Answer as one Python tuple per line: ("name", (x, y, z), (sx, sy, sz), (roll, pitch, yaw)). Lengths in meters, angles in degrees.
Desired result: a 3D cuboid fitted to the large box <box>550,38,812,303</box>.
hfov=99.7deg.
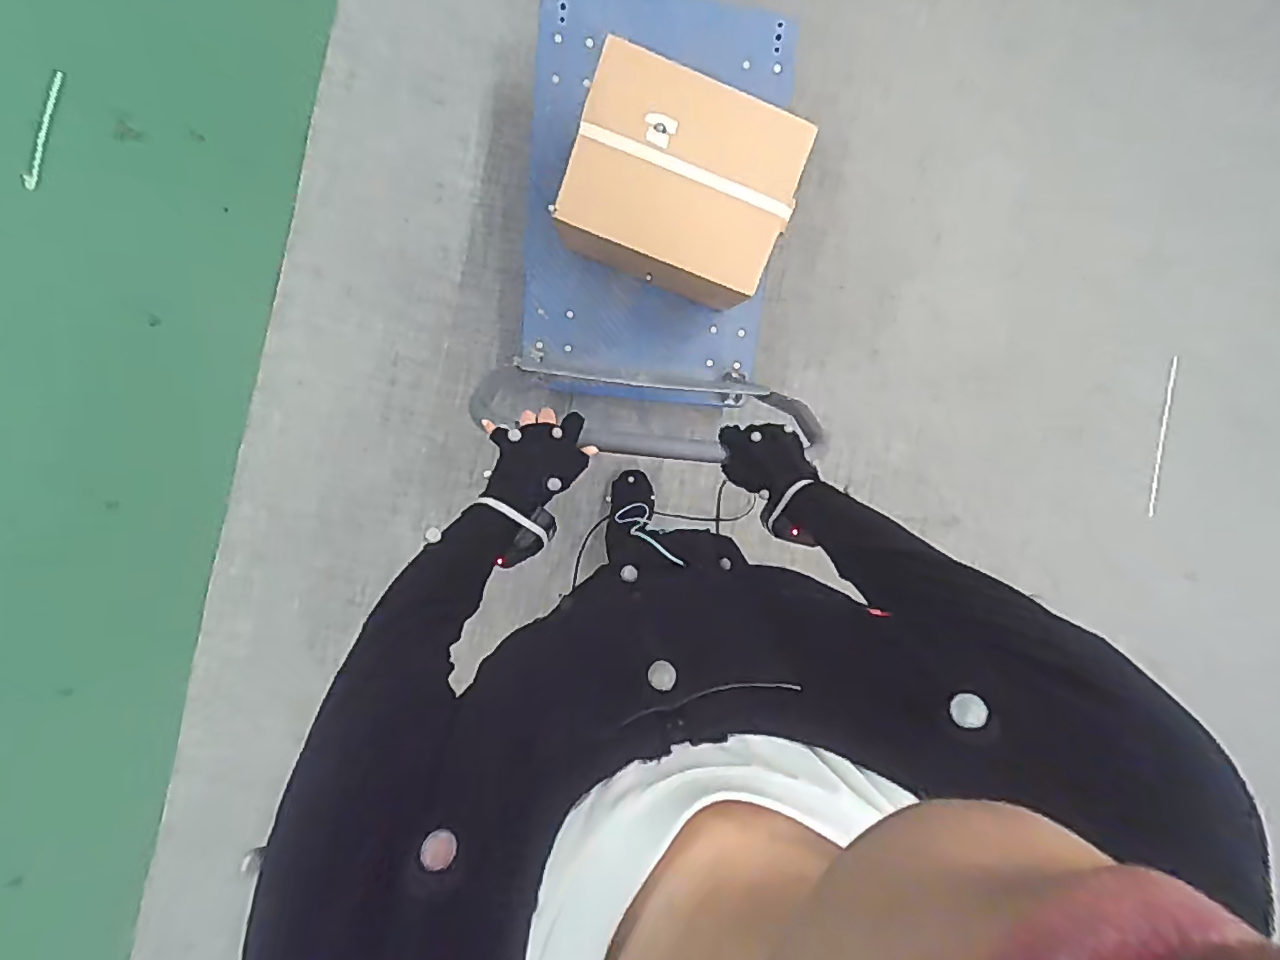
("large box", (0.071, -0.593, 1.122), (0.408, 0.320, 0.320), (20, 101, -6))
